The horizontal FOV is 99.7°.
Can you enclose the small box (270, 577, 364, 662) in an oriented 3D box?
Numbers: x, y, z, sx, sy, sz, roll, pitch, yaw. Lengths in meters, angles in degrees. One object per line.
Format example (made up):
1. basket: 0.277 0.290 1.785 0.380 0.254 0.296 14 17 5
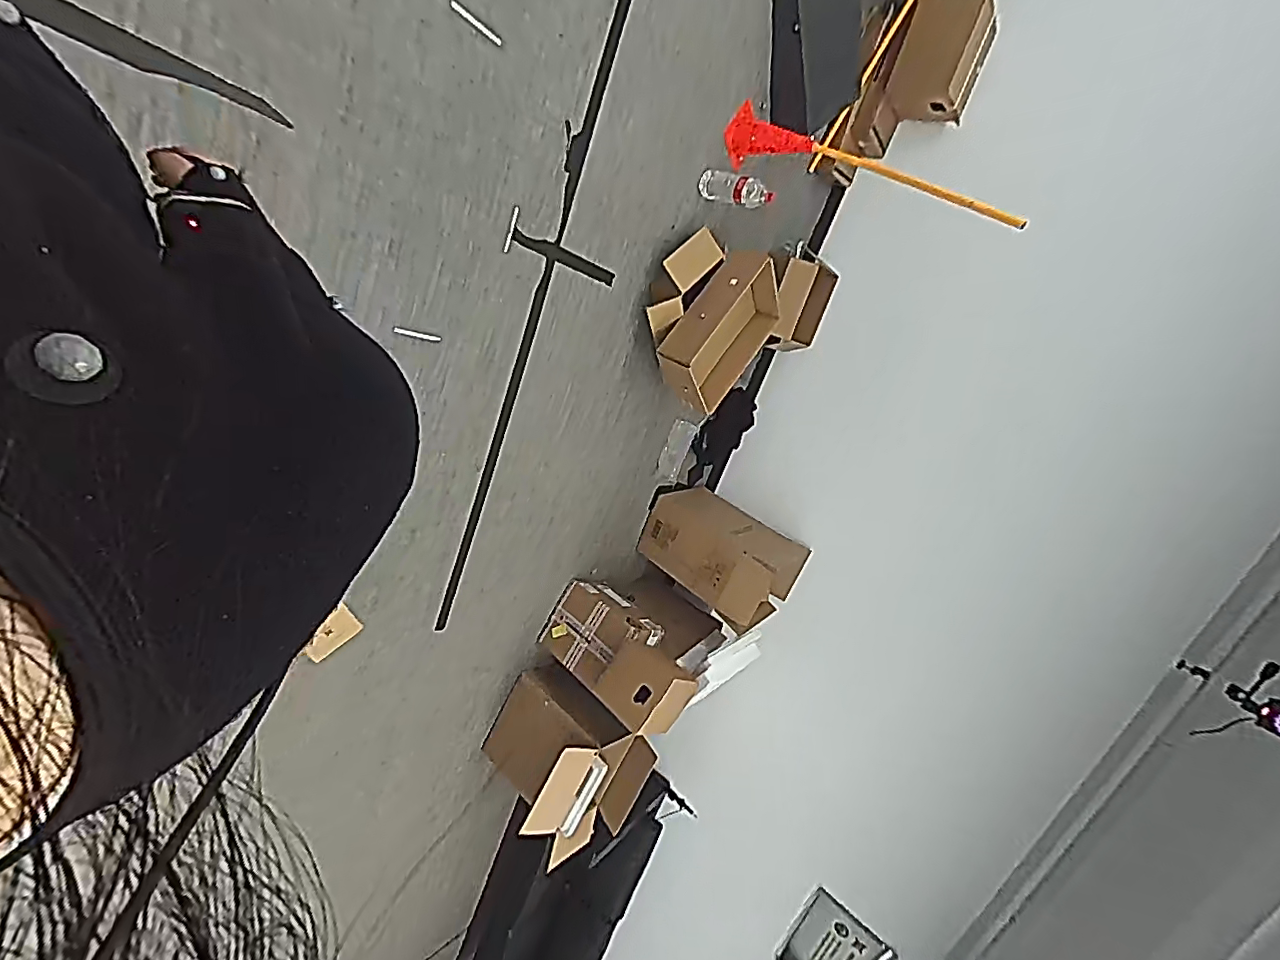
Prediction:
1. small box: -1.021 0.432 1.707 0.168 0.176 0.179 -40 146 -28
